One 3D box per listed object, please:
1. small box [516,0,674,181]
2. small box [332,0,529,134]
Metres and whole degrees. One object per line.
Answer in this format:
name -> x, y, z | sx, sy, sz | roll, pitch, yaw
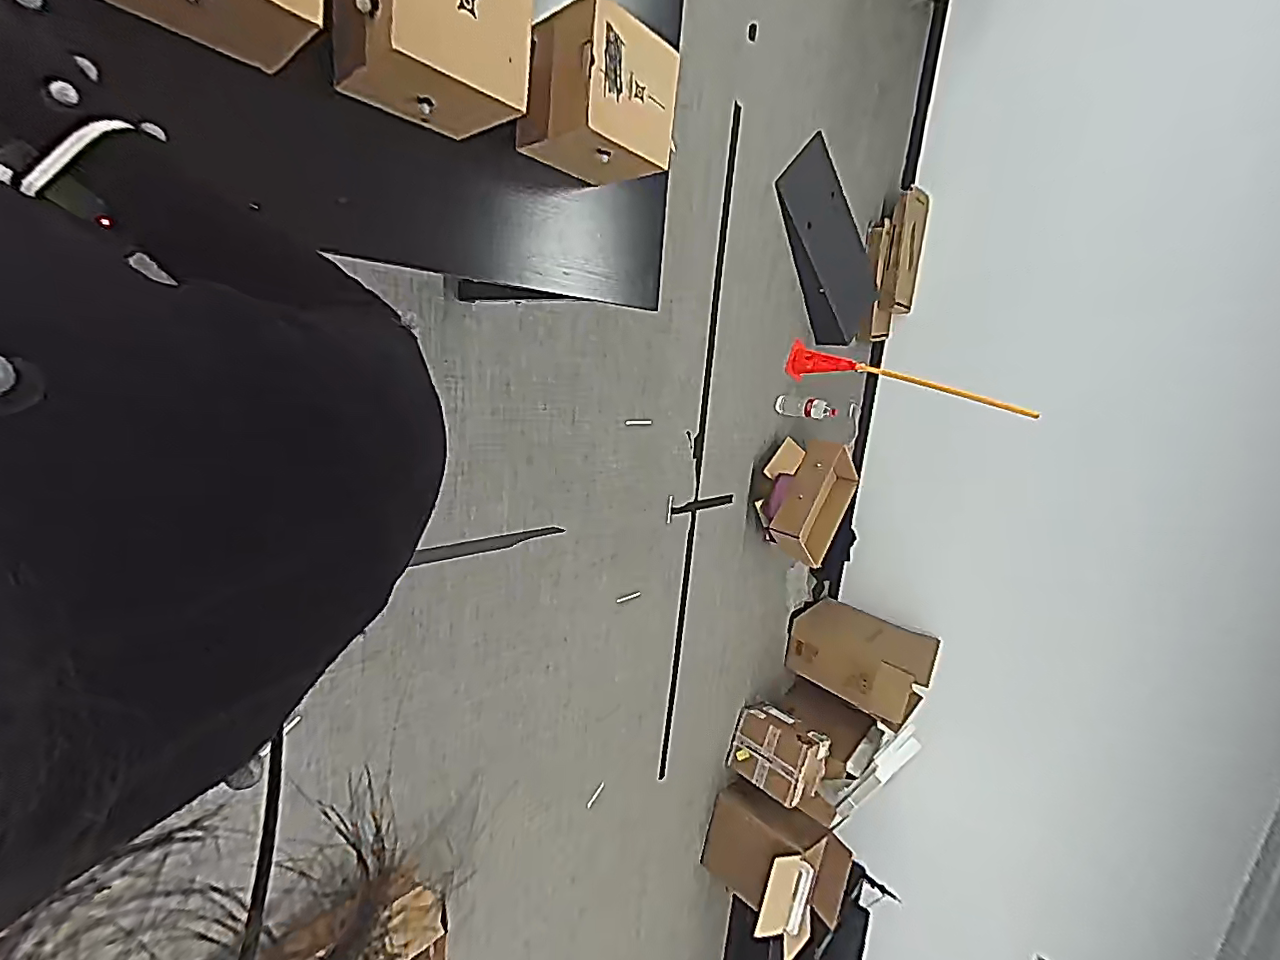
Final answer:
small box -> -0.073, -0.584, 0.834 | 0.179, 0.176, 0.168 | -6, 107, -47
small box -> -0.252, -0.549, 0.648 | 0.168, 0.176, 0.179 | -7, 107, -47
